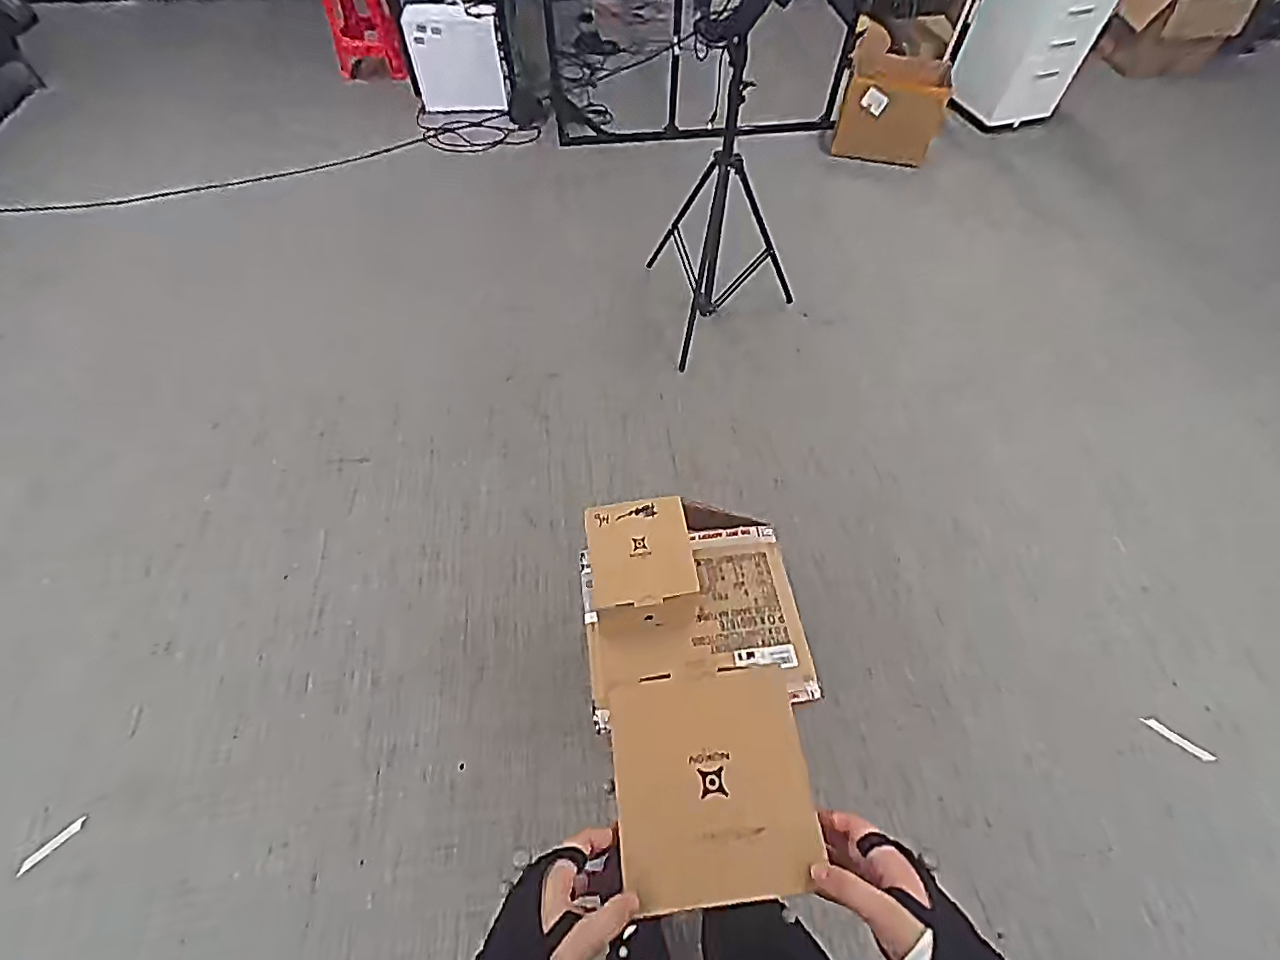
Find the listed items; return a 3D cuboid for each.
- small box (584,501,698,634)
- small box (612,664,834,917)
[{"bbox_3d":[0.000,0.158,0.930,0.168,0.176,0.179,-8,61,-4],"label":"small box"},{"bbox_3d":[0.063,0.296,0.529,0.168,0.176,0.179,-7,59,-2],"label":"small box"}]
